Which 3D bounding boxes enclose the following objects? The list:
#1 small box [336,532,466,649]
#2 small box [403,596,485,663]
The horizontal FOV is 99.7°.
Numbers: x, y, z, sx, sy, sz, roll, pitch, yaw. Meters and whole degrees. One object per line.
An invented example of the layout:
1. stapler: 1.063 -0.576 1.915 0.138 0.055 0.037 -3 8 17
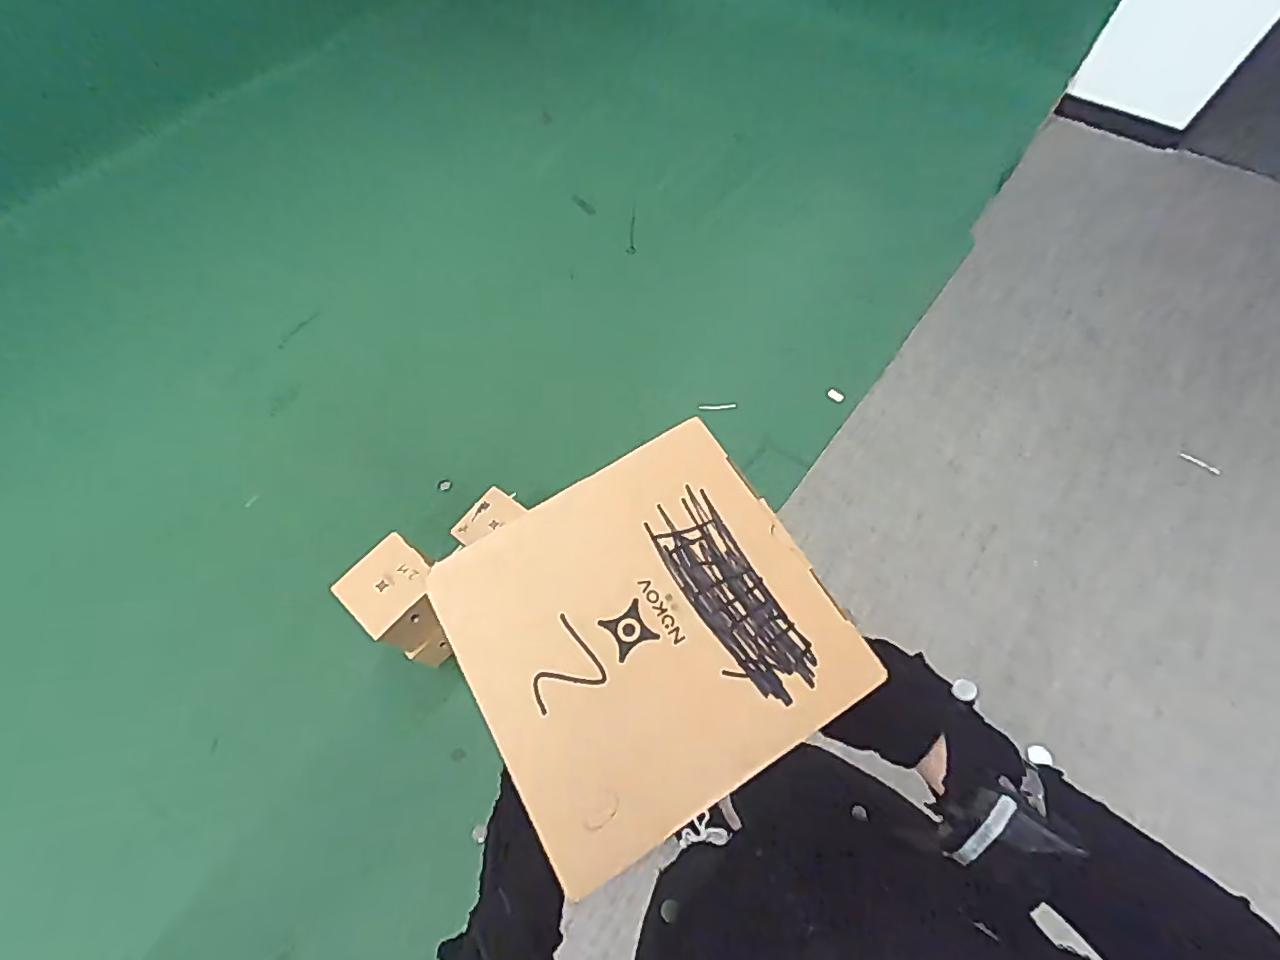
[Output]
1. small box: -0.527 0.254 1.215 0.168 0.176 0.179 39 71 19
2. small box: -0.519 0.339 1.356 0.179 0.176 0.168 40 71 20
